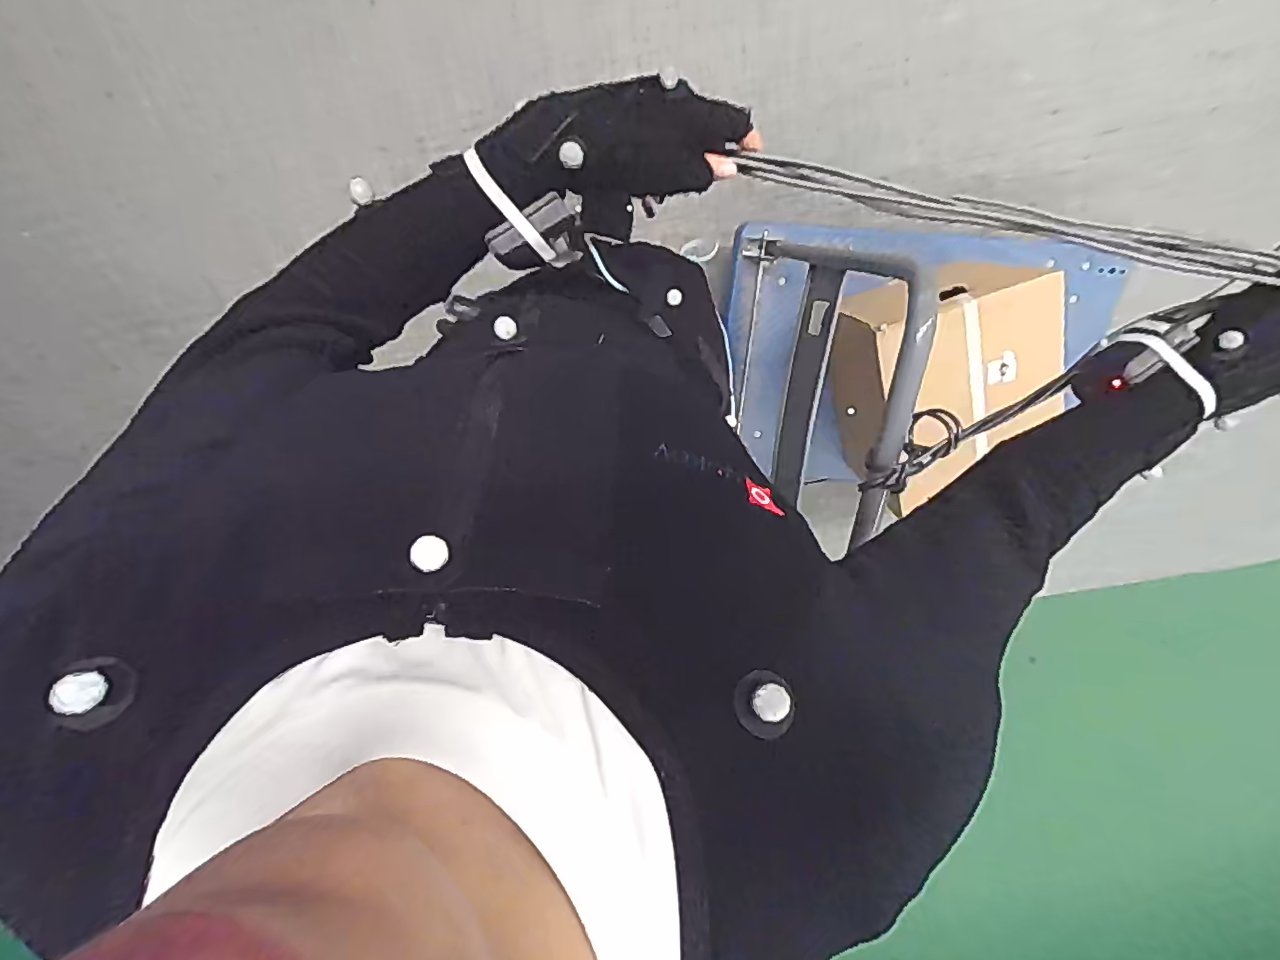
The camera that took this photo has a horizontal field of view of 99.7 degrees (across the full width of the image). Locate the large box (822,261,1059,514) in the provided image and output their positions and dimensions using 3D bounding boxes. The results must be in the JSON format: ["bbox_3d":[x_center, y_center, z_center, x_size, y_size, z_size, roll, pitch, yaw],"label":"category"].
[{"bbox_3d":[0.608,-0.203,1.130,0.320,0.320,0.408,-17,113,6],"label":"large box"}]
